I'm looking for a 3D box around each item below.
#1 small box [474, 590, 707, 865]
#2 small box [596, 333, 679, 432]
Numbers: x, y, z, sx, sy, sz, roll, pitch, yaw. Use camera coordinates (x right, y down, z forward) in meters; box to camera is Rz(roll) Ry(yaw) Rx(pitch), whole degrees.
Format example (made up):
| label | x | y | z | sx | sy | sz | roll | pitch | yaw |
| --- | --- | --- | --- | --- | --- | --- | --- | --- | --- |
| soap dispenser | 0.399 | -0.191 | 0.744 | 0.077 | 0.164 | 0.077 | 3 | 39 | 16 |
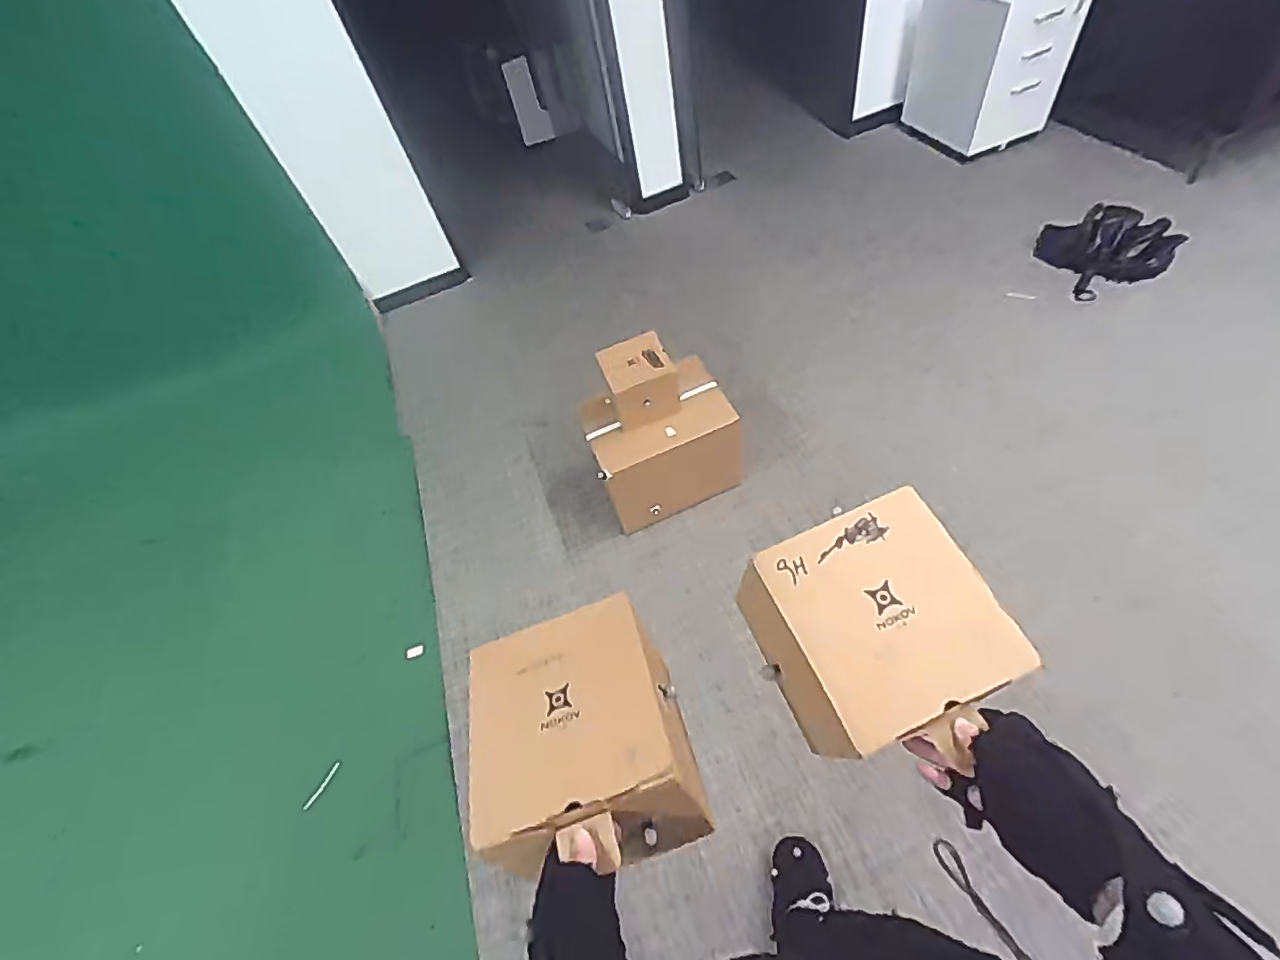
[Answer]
| label | x | y | z | sx | sy | sz | roll | pitch | yaw |
| --- | --- | --- | --- | --- | --- | --- | --- | --- | --- |
| small box | -0.047 | 0.246 | 0.528 | 0.168 | 0.176 | 0.179 | -21 | 42 | 0 |
| small box | -0.002 | -0.264 | 1.489 | 0.179 | 0.176 | 0.168 | -24 | 59 | -6 |
